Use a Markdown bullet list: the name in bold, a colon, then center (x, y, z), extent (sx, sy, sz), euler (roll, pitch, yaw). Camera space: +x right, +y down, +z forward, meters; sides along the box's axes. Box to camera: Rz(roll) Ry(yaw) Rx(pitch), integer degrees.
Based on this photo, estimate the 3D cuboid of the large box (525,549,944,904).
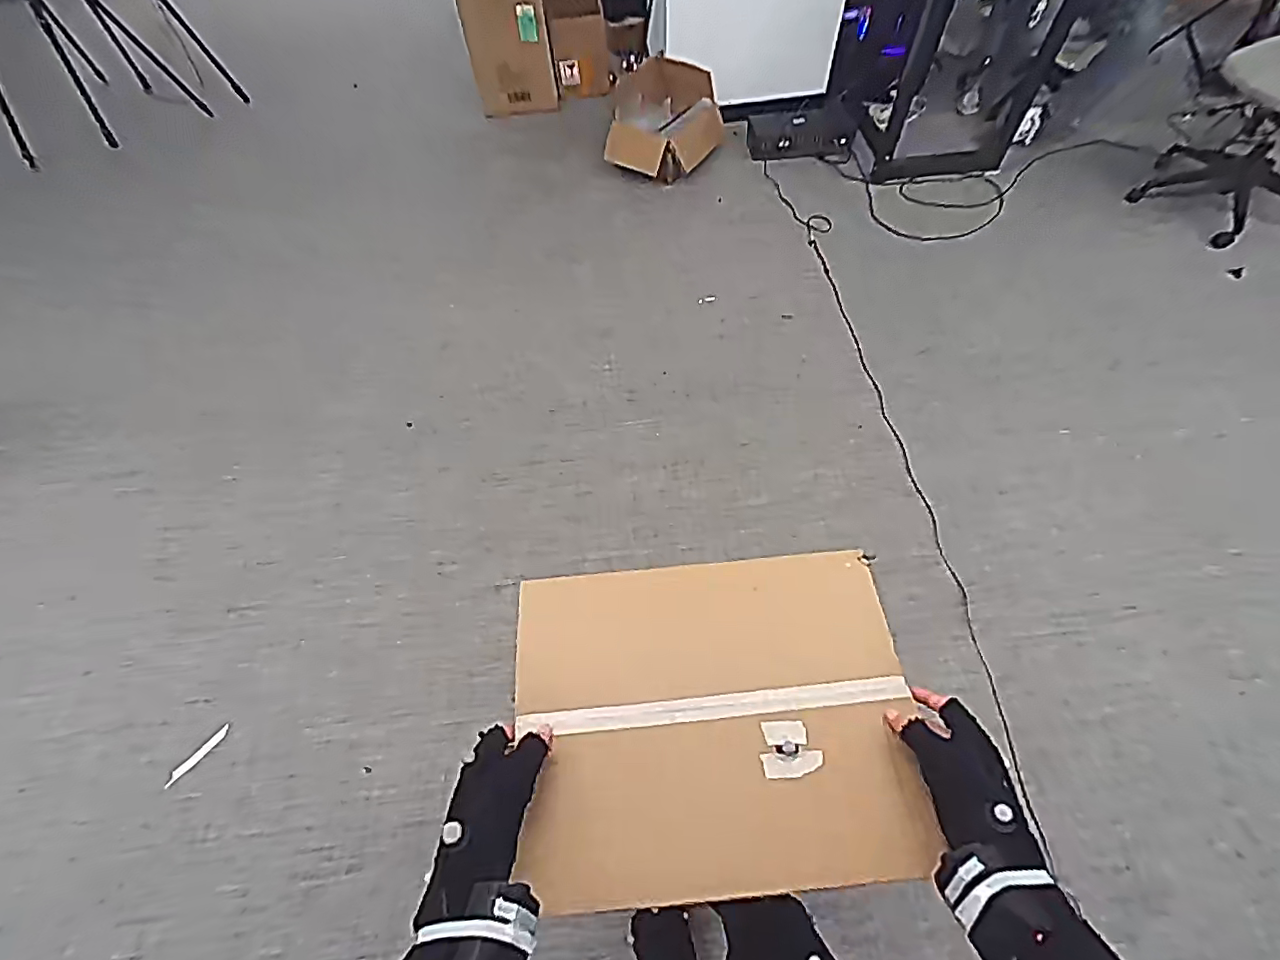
- **large box**: center (0.077, 0.313, 0.703), extent (0.408, 0.320, 0.320), euler (-6, 59, -2)
